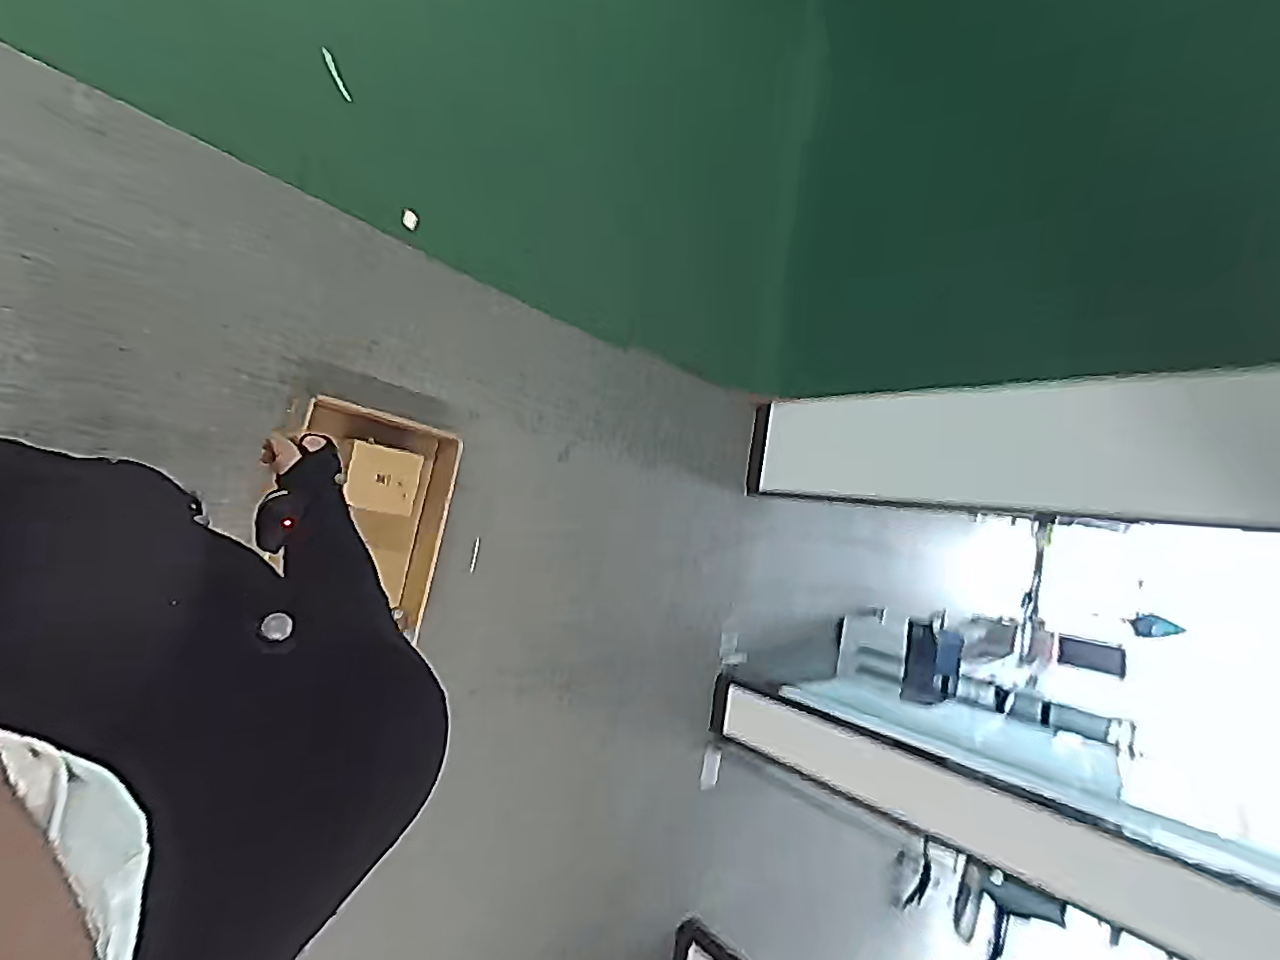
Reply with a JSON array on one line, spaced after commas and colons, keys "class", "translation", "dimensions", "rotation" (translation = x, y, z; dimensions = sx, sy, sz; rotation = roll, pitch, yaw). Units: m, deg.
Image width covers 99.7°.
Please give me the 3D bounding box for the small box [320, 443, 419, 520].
[{"class": "small box", "translation": [-0.716, 0.003, 1.423], "dimensions": [0.179, 0.176, 0.168], "rotation": [17, 82, -43]}]
